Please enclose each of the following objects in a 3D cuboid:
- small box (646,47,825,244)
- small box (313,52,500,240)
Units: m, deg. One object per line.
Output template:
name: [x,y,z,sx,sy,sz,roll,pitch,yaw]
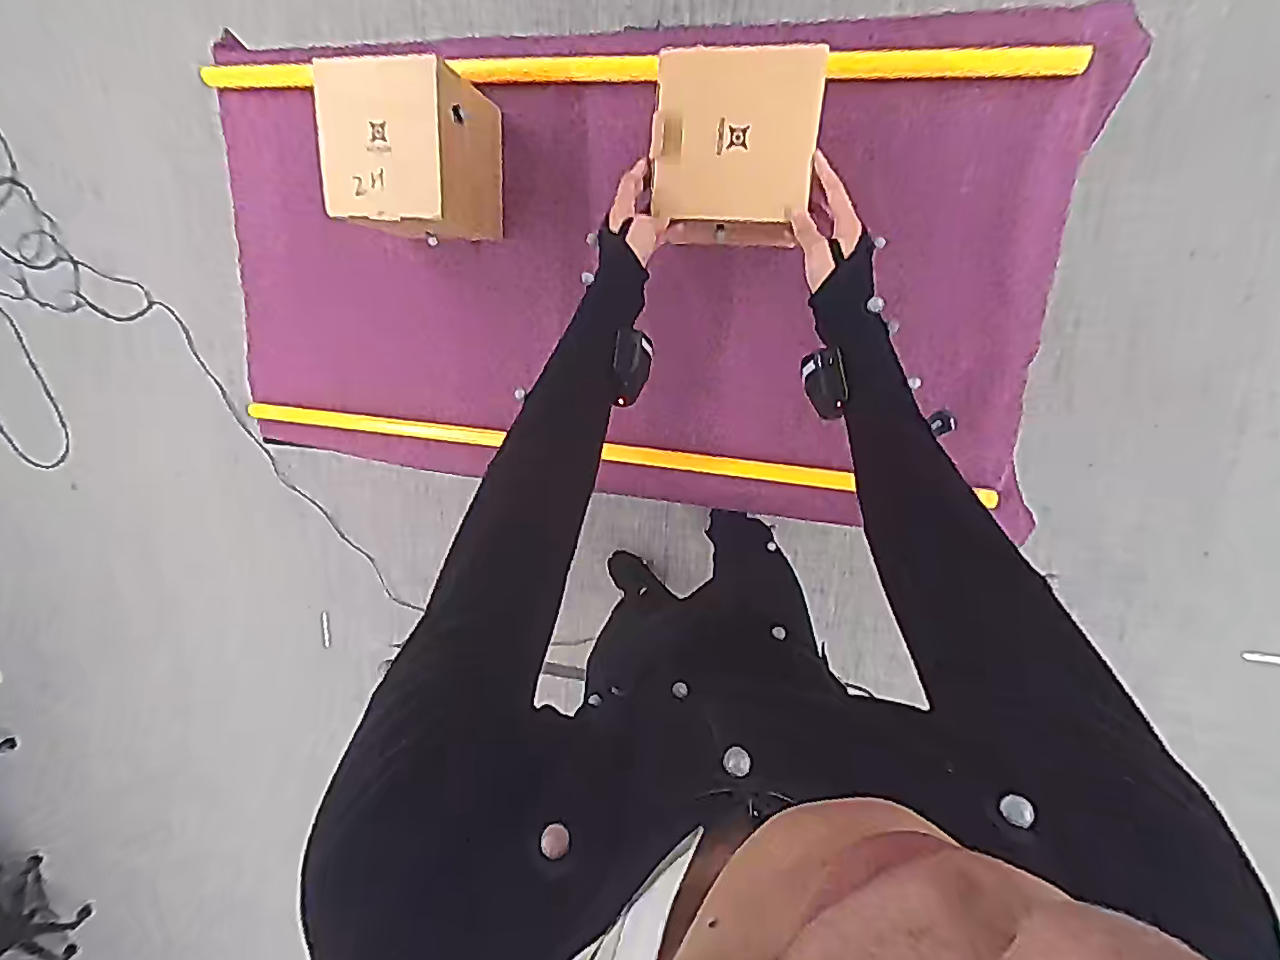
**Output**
small box: [0.113,-0.387,0.653,0.179,0.176,0.168,7,106,11]
small box: [-0.301,-0.435,0.729,0.168,0.176,0.179,7,107,11]
